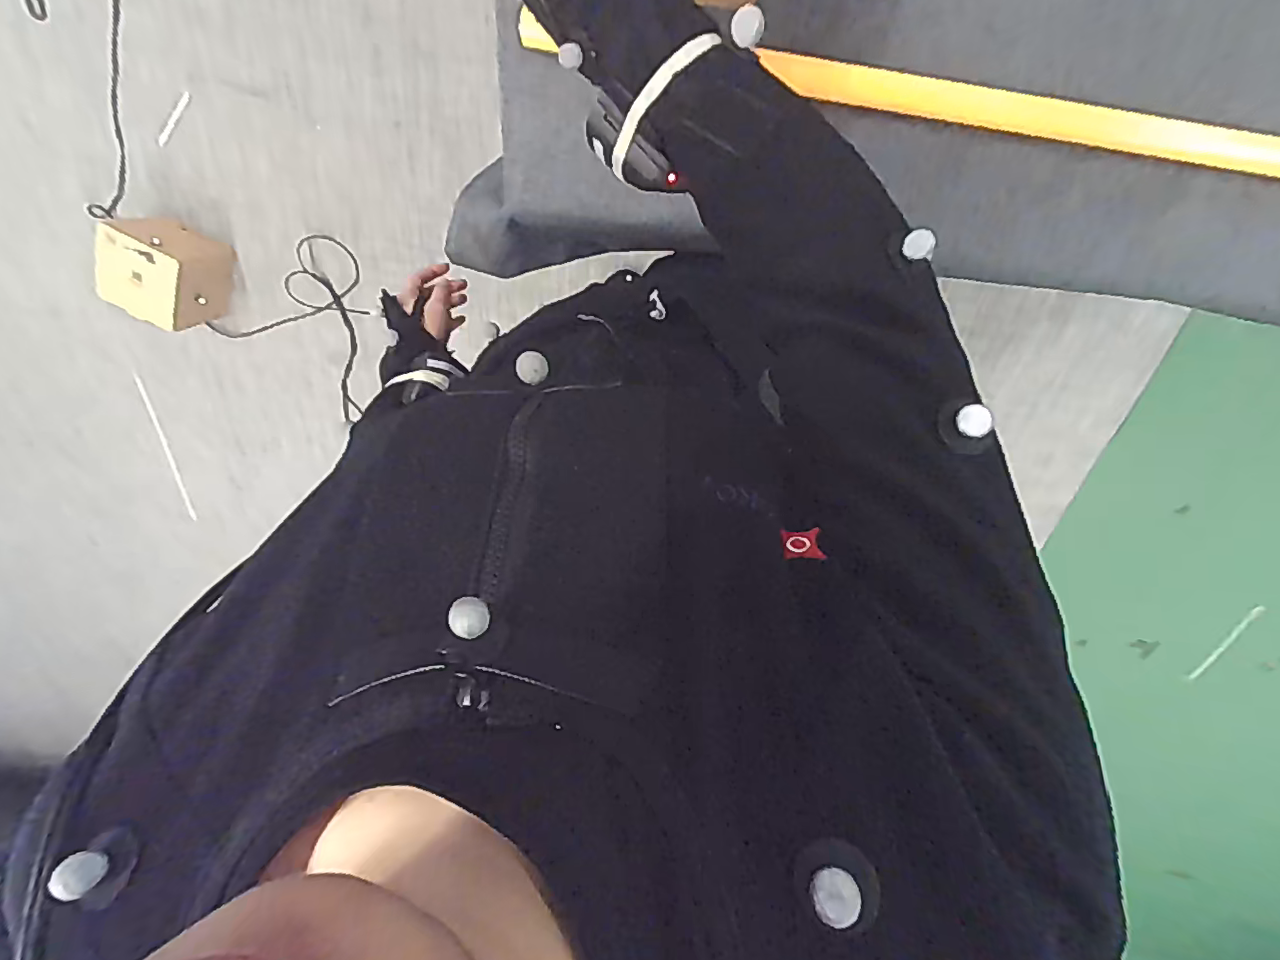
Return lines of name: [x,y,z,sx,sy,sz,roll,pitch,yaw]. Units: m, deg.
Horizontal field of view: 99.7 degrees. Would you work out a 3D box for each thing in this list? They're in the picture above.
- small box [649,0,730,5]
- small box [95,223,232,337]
small box: [0.005,-0.409,0.314,0.179,0.176,0.168,9,120,1]
small box: [-1.071,-0.457,1.224,0.168,0.176,0.179,27,118,-10]
